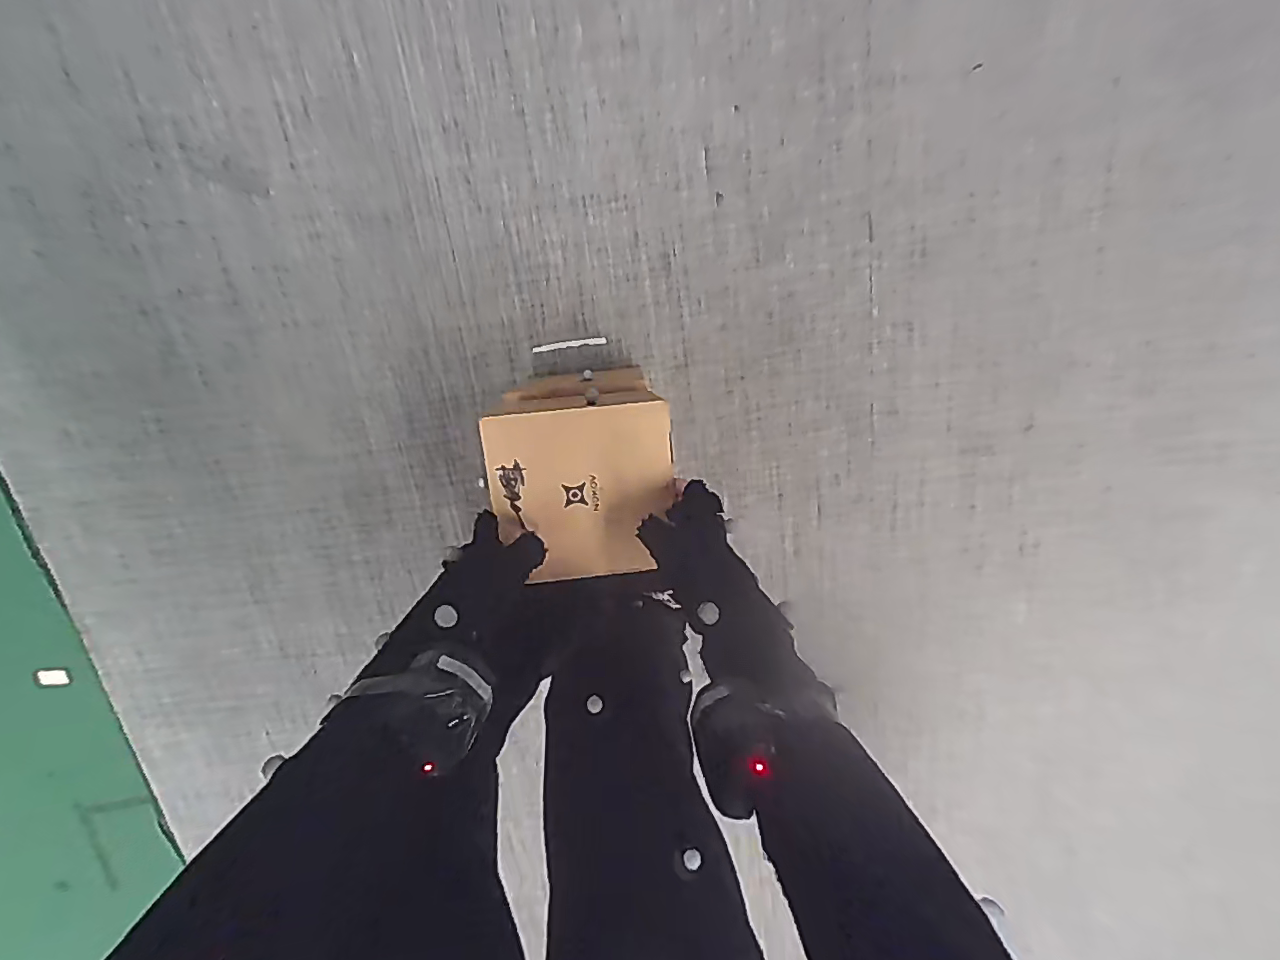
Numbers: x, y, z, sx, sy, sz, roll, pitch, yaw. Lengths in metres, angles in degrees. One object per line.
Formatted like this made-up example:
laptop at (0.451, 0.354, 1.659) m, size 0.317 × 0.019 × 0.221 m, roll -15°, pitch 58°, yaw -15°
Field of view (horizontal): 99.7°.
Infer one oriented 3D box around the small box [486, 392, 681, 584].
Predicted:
small box at (-0.057, -0.003, 0.593) m, size 0.179 × 0.176 × 0.168 m, roll -6°, pitch 104°, yaw -3°

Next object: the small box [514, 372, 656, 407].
small box at (-0.069, -0.060, 0.758) m, size 0.179 × 0.176 × 0.168 m, roll -3°, pitch 105°, yaw -1°
